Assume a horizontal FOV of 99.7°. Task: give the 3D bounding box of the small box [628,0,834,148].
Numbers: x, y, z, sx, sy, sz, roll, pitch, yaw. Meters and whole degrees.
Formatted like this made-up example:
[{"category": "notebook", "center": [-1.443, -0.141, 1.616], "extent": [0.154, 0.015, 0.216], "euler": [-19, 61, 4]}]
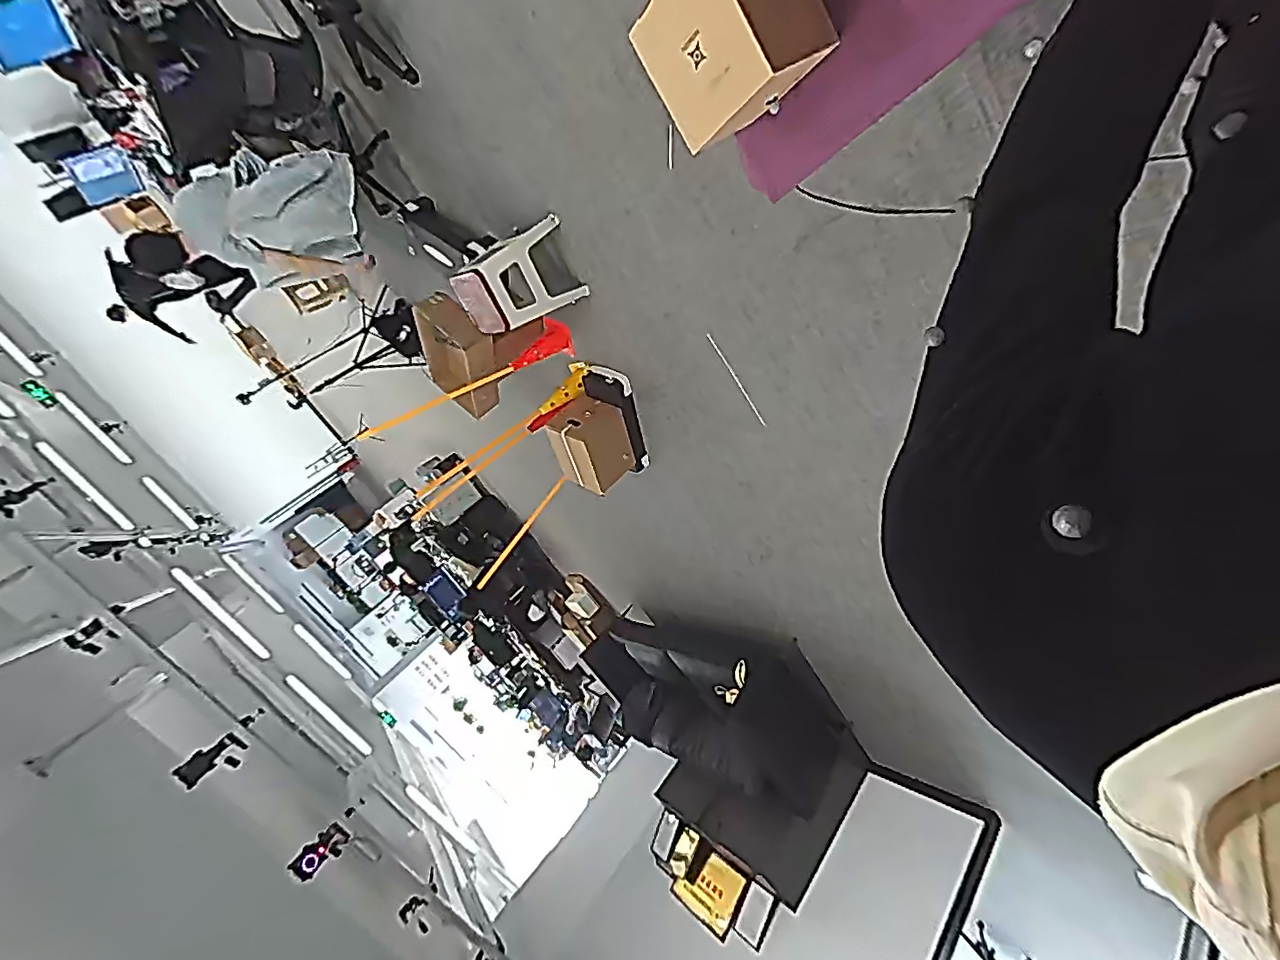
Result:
[{"category": "small box", "center": [0.124, -0.601, 0.729], "extent": [0.179, 0.176, 0.168], "euler": [55, 152, -15]}]
